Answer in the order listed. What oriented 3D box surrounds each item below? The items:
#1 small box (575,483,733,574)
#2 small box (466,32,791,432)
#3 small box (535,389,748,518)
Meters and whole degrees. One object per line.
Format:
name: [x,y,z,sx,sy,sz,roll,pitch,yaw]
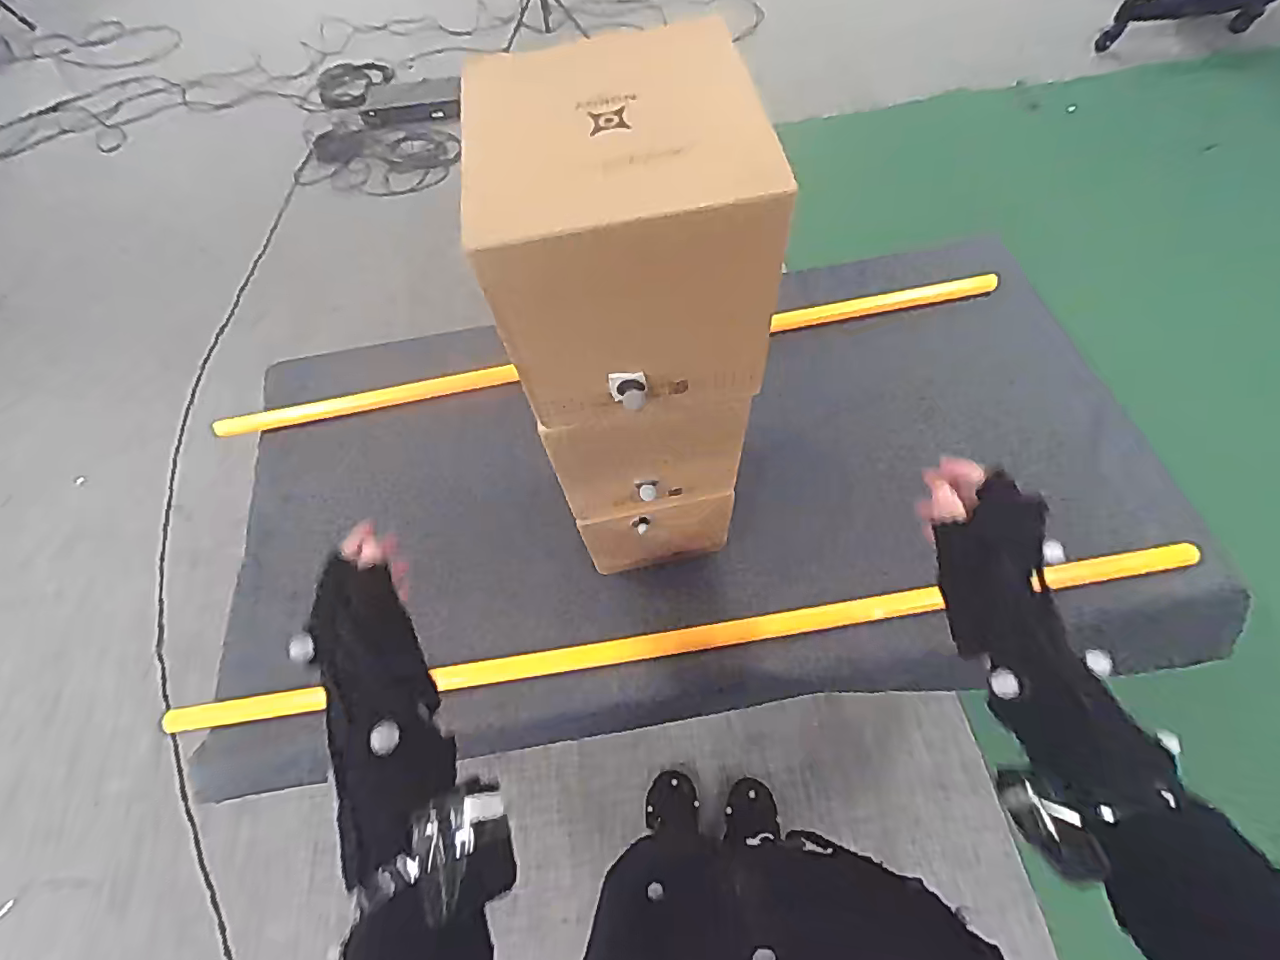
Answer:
small box: [0.008,-0.005,0.663,0.168,0.176,0.179,-12,62,-1]
small box: [-0.011,-0.159,0.376,0.168,0.176,0.179,-11,63,1]
small box: [-0.004,-0.085,0.519,0.168,0.176,0.179,-11,62,0]
